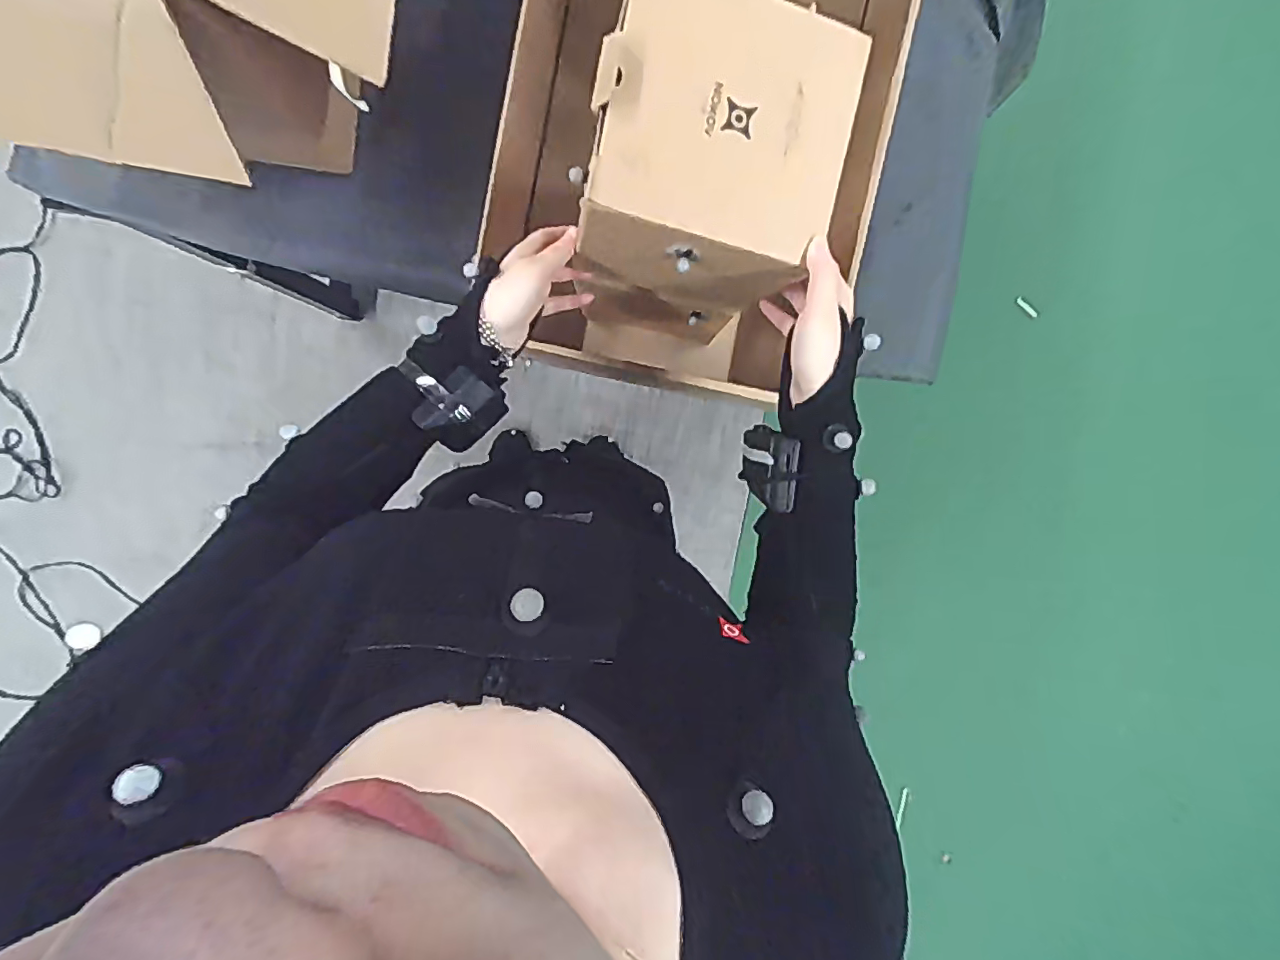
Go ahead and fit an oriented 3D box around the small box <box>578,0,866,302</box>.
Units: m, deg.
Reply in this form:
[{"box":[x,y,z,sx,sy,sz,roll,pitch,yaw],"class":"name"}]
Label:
[{"box":[0.049,-0.262,0.458,0.179,0.176,0.168,11,96,-13],"class":"small box"}]
